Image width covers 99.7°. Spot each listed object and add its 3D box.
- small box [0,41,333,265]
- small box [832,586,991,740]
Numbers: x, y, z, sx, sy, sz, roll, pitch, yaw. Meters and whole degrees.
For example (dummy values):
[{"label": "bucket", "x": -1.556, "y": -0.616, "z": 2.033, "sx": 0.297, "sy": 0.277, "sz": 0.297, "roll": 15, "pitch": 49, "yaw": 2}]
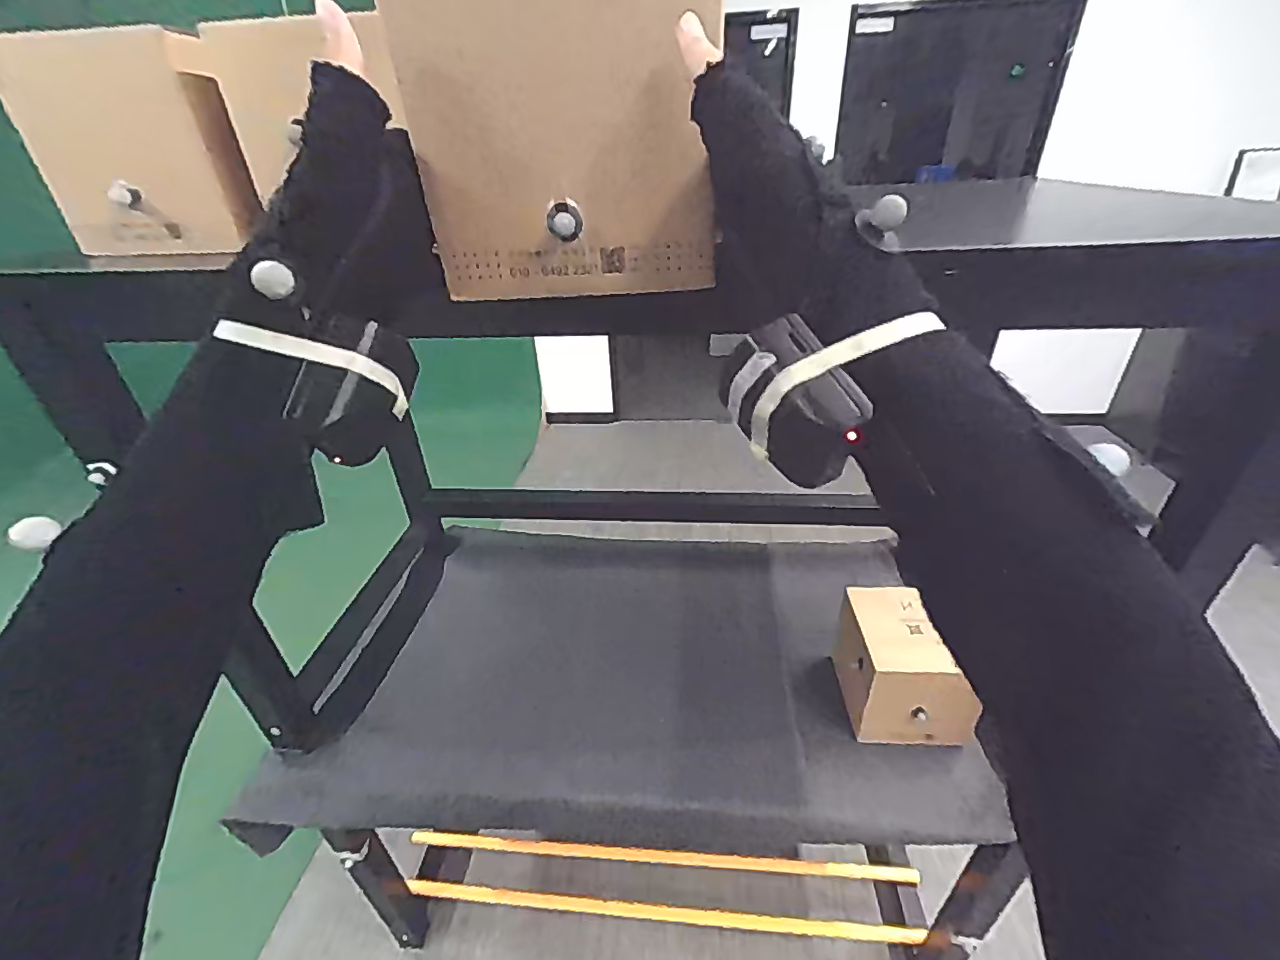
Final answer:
[{"label": "small box", "x": -0.445, "y": -0.322, "z": 0.547, "sx": 0.168, "sy": 0.176, "sz": 0.179, "roll": 0, "pitch": 32, "yaw": 5}, {"label": "small box", "x": 0.420, "y": 0.292, "z": 0.869, "sx": 0.168, "sy": 0.176, "sz": 0.179, "roll": 0, "pitch": 31, "yaw": 4}]
